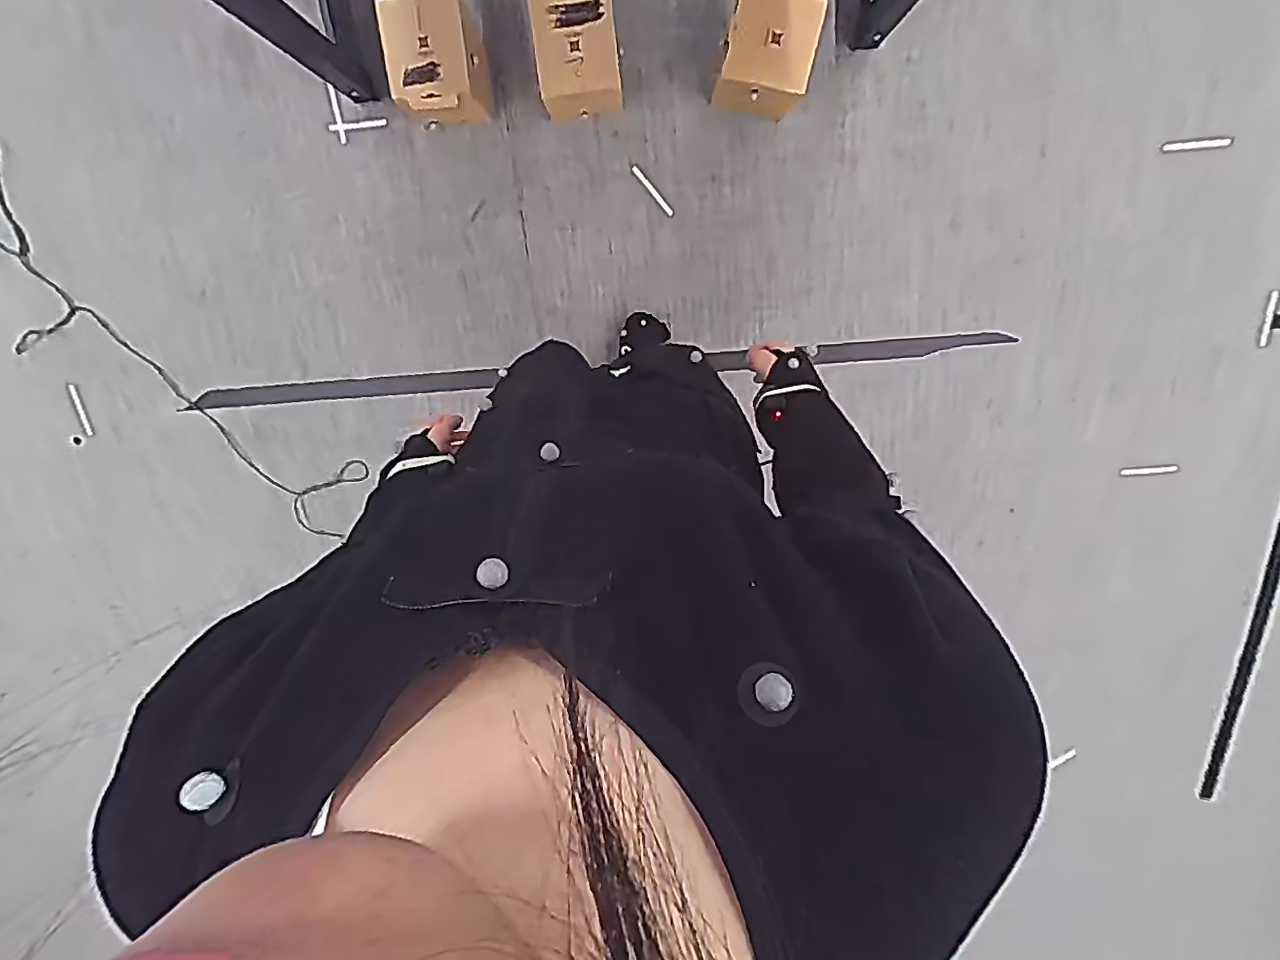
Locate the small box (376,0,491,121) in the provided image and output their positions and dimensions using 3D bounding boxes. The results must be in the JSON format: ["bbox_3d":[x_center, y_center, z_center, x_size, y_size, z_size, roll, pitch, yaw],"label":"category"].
[{"bbox_3d":[-0.426,-0.884,1.146,0.168,0.176,0.179,-4,107,1],"label":"small box"}]

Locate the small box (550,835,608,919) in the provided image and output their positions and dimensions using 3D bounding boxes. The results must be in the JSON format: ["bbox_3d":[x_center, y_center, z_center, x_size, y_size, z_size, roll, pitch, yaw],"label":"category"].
[{"bbox_3d":[-0.206,1.381,1.884,0.168,0.176,0.179,-6,109,2],"label":"small box"}]

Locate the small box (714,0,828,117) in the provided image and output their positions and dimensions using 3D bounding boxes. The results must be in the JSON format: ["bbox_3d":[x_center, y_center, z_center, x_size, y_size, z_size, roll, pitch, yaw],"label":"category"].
[{"bbox_3d":[0.266,-0.898,1.143,0.179,0.176,0.168,12,108,-2],"label":"small box"}]
